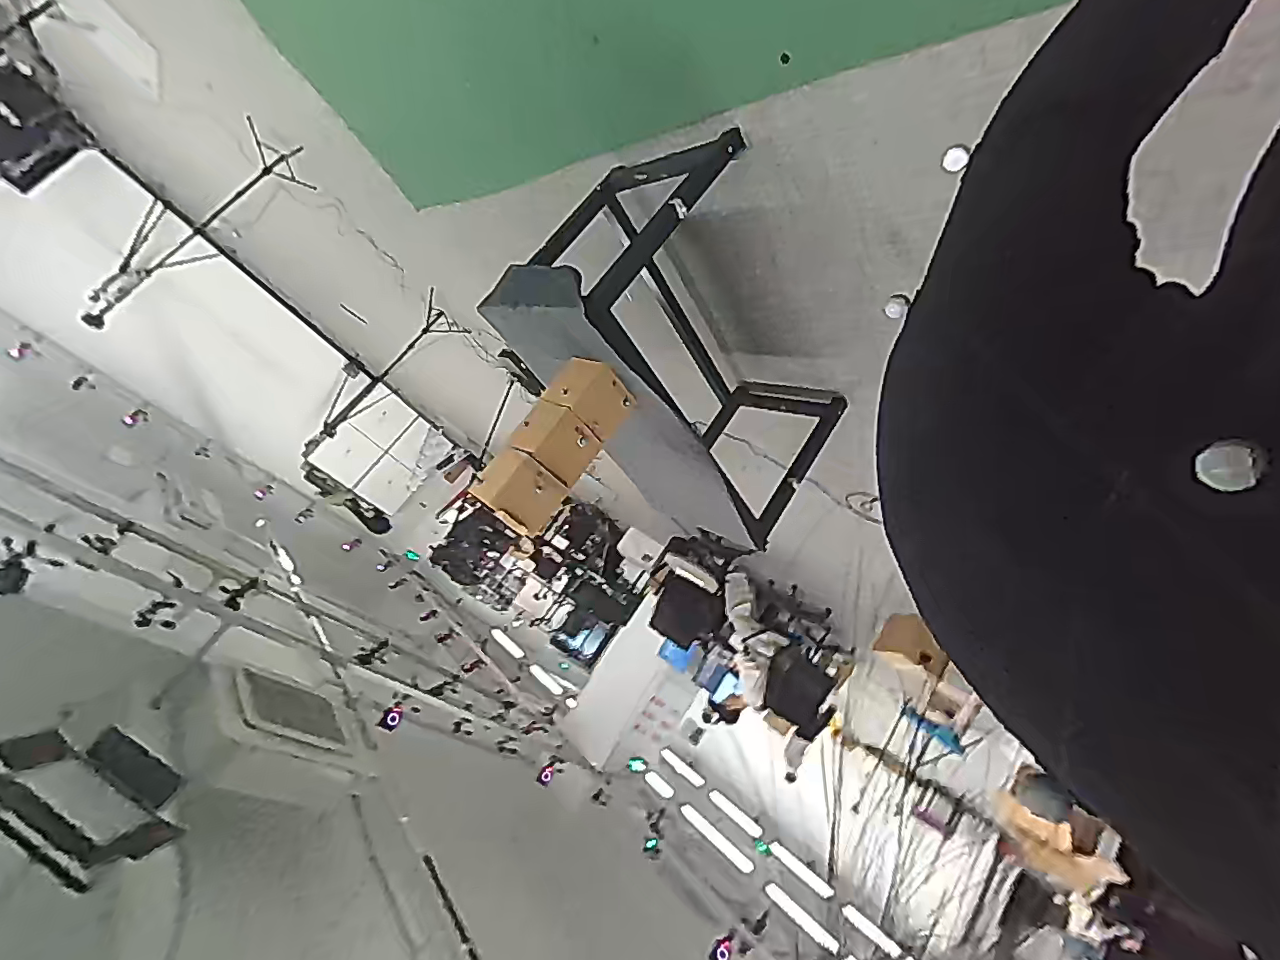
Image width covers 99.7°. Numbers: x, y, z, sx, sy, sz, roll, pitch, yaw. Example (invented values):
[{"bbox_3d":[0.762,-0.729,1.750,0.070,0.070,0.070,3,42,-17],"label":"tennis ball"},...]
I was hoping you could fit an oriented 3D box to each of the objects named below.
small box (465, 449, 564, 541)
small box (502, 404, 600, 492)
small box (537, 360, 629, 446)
[{"bbox_3d":[-0.335,0.034,1.467,0.168,0.176,0.179,44,165,-35],"label":"small box"},{"bbox_3d":[-0.245,-0.096,1.513,0.179,0.176,0.168,19,159,50],"label":"small box"},{"bbox_3d":[-0.154,-0.225,1.554,0.179,0.176,0.168,23,161,47],"label":"small box"}]
